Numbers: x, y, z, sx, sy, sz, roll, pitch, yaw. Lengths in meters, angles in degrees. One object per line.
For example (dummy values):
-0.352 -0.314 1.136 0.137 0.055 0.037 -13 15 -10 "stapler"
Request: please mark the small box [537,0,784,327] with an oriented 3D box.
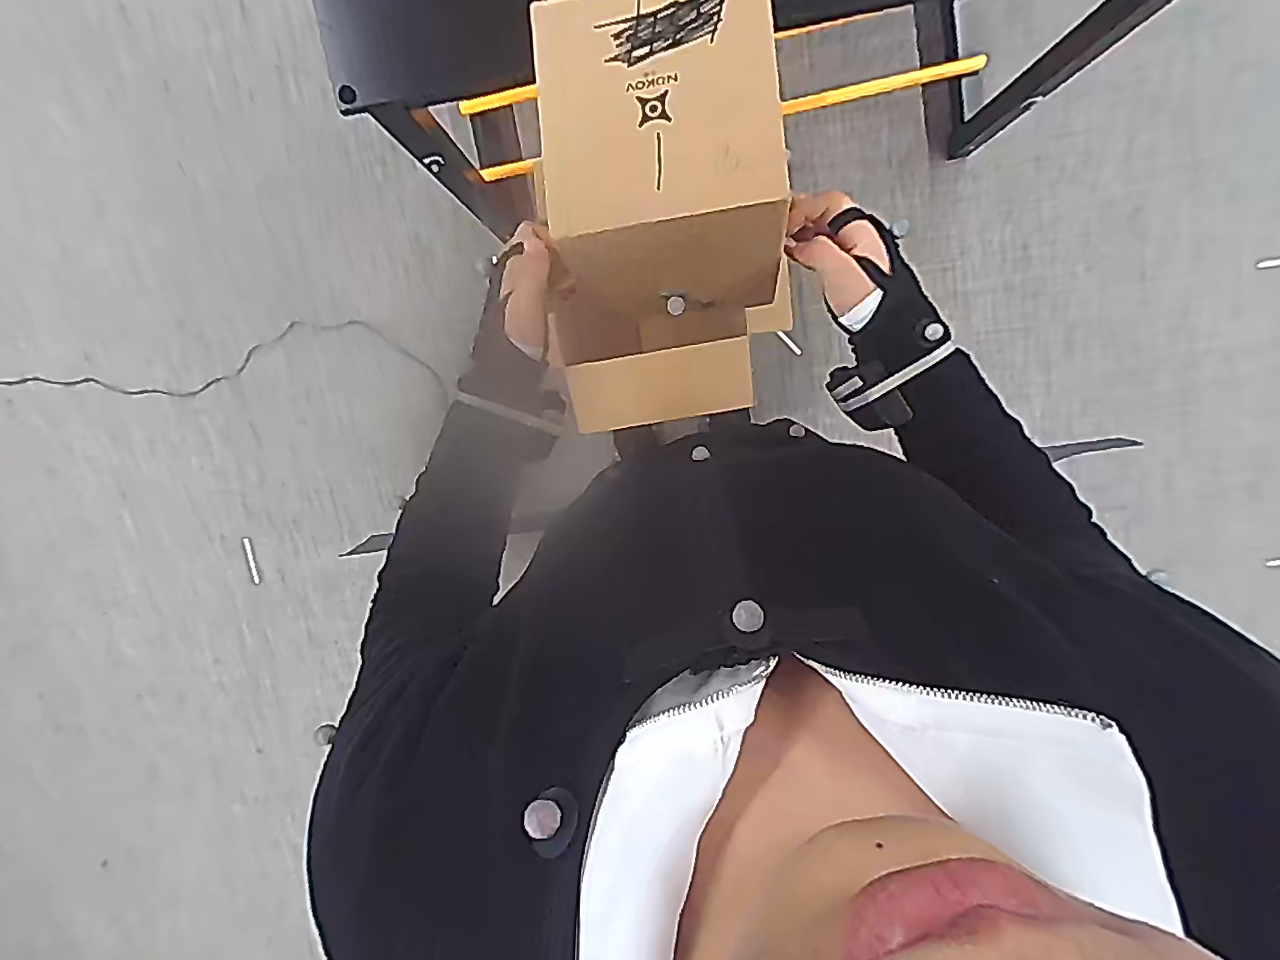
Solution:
0.022 -0.251 0.454 0.168 0.176 0.179 -6 83 10 "small box"
